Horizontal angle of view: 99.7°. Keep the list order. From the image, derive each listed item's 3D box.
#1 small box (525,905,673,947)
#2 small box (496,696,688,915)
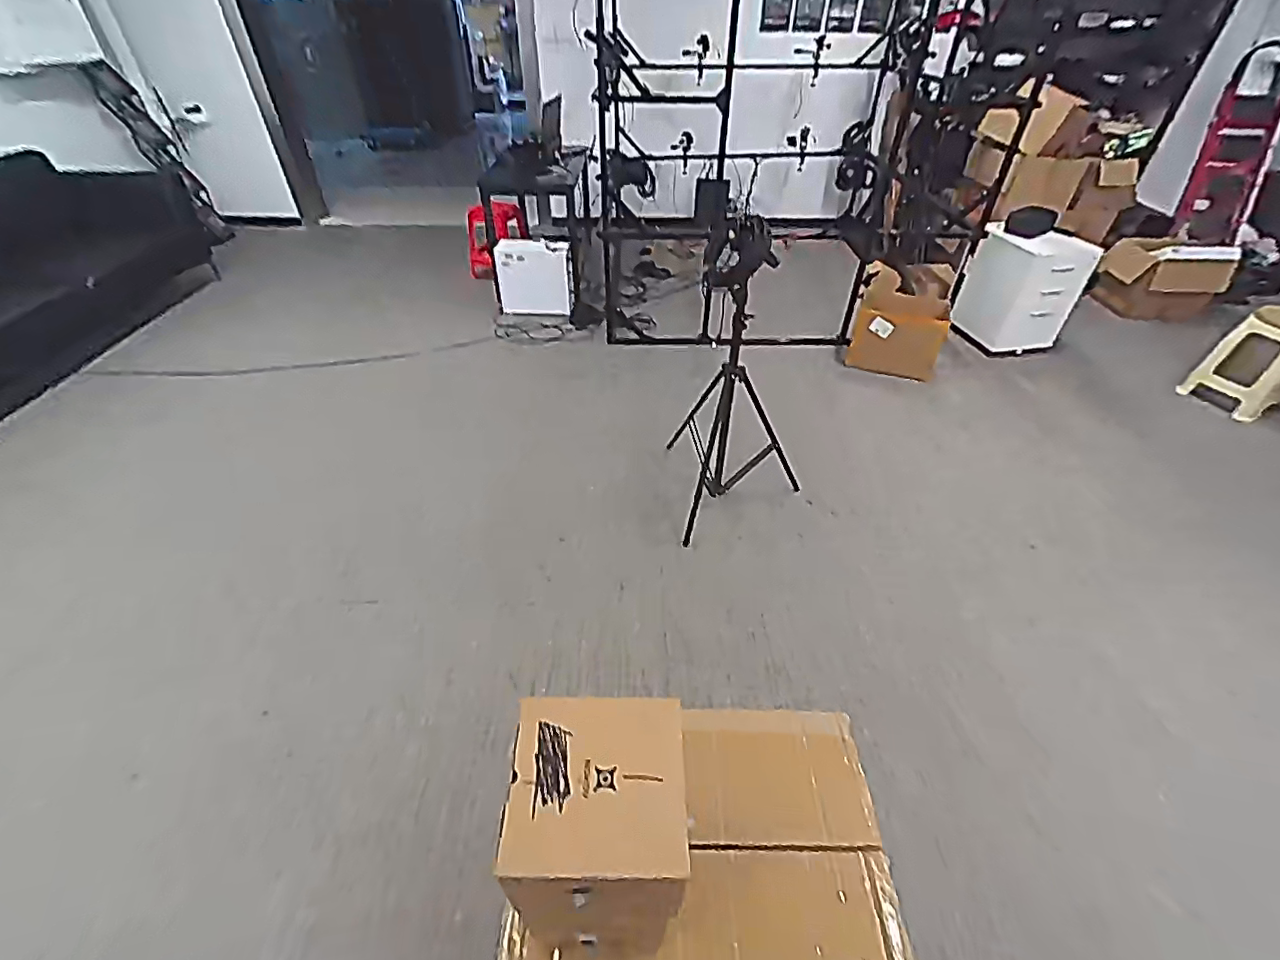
[{"bbox_3d":[-0.044,0.478,0.702,0.168,0.176,0.179,0,43,1],"label":"small box"},{"bbox_3d":[-0.042,0.356,0.591,0.179,0.176,0.168,1,42,-1],"label":"small box"}]
